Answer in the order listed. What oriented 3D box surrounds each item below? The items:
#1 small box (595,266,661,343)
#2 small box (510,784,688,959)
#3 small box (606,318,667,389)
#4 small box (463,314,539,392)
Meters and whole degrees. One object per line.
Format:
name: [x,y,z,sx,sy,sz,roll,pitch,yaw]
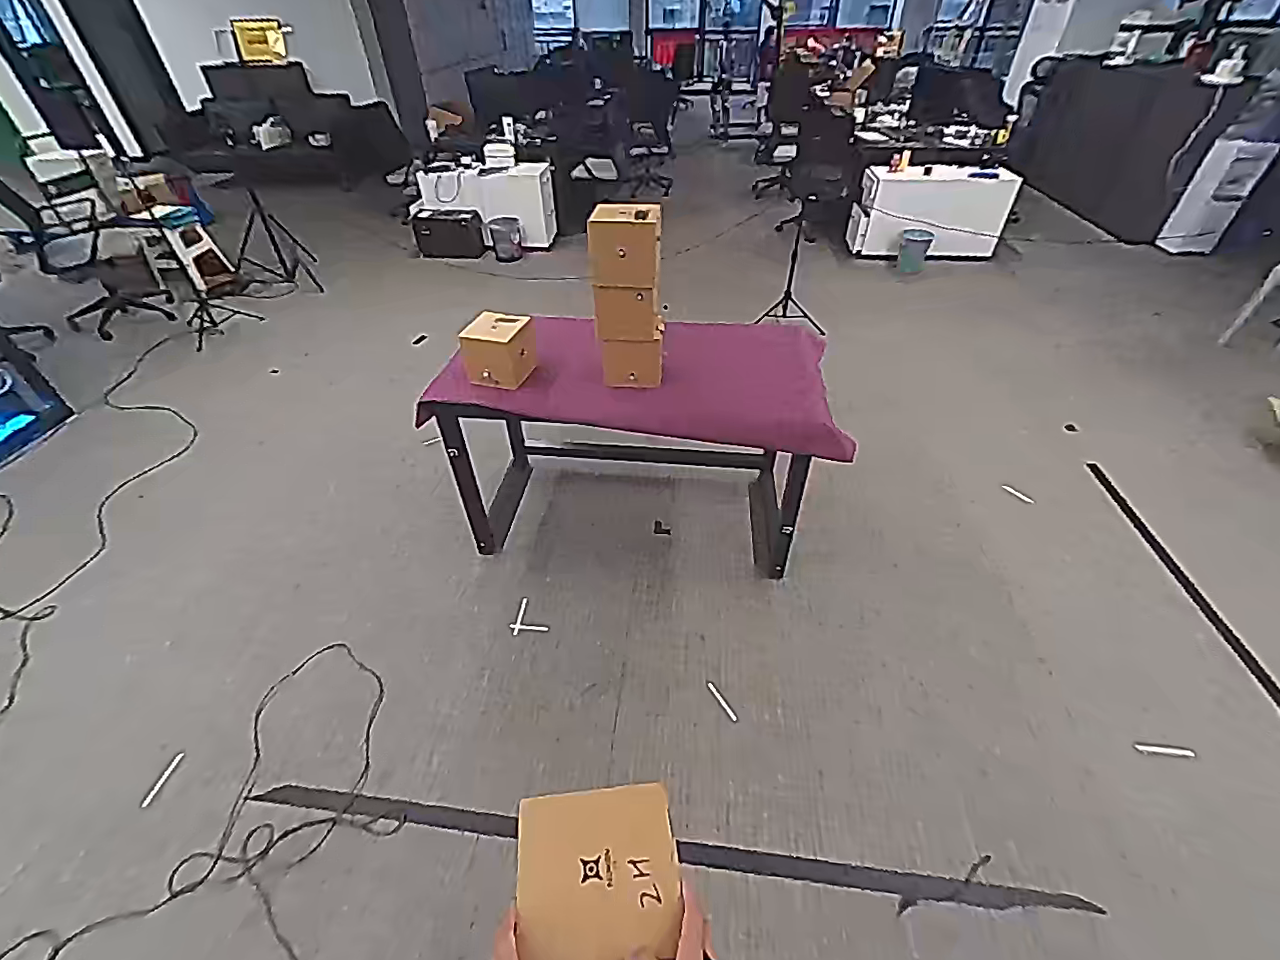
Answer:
small box: [-0.031,-0.513,1.579,0.179,0.176,0.168,2,41,3]
small box: [-0.051,0.483,0.626,0.179,0.176,0.168,-2,37,-9]
small box: [-0.009,-0.396,1.692,0.179,0.176,0.168,3,40,3]
small box: [-0.428,-0.401,1.705,0.168,0.176,0.179,10,43,12]
